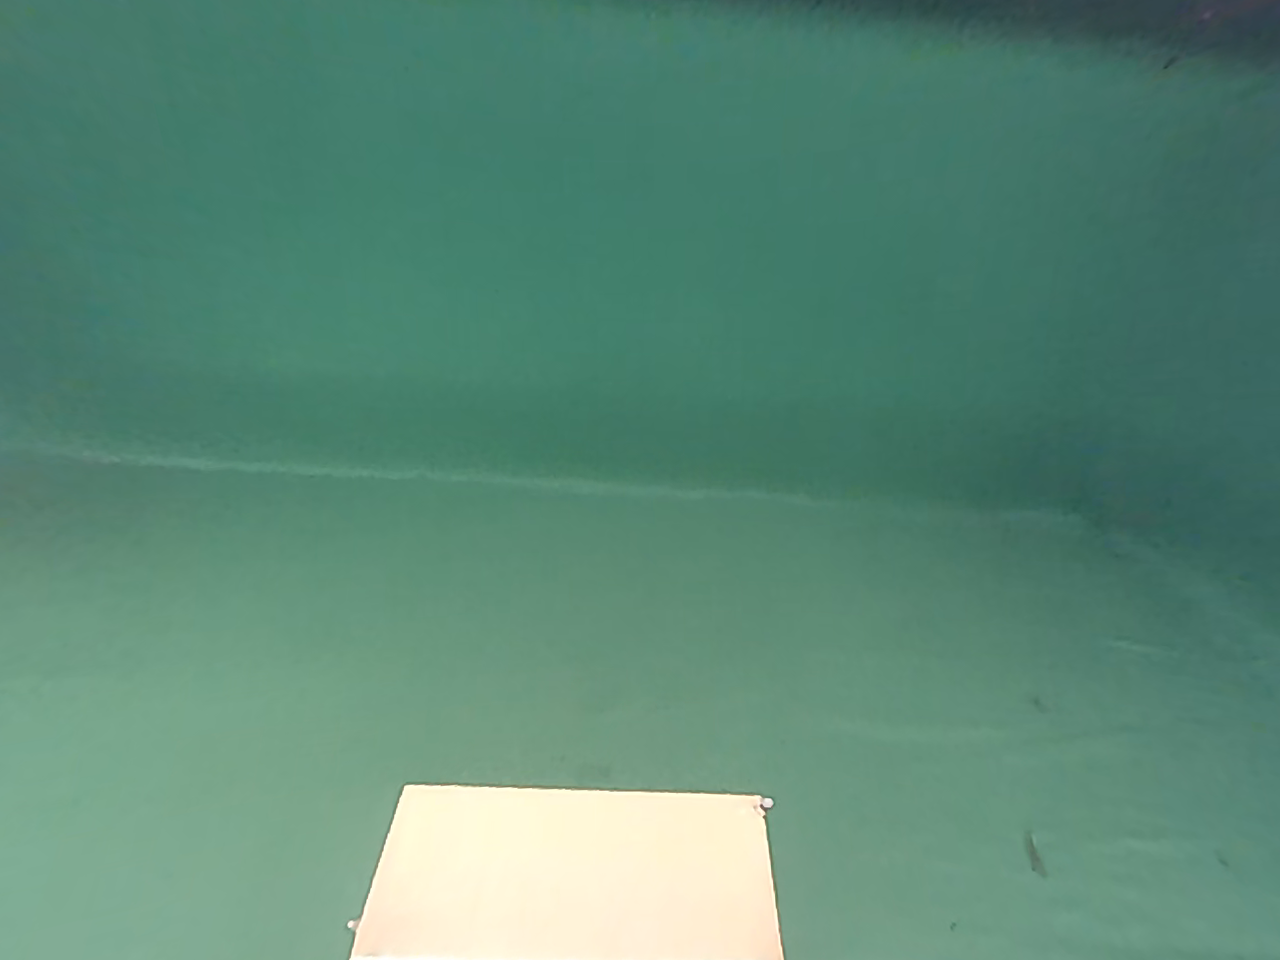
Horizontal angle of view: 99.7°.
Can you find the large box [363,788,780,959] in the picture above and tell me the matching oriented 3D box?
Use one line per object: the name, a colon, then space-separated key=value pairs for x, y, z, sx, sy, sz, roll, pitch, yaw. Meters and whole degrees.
large box: x=-0.072 y=0.569 z=0.605 sx=0.408 sy=0.320 sz=0.320 roll=3 pitch=43 yaw=-2
